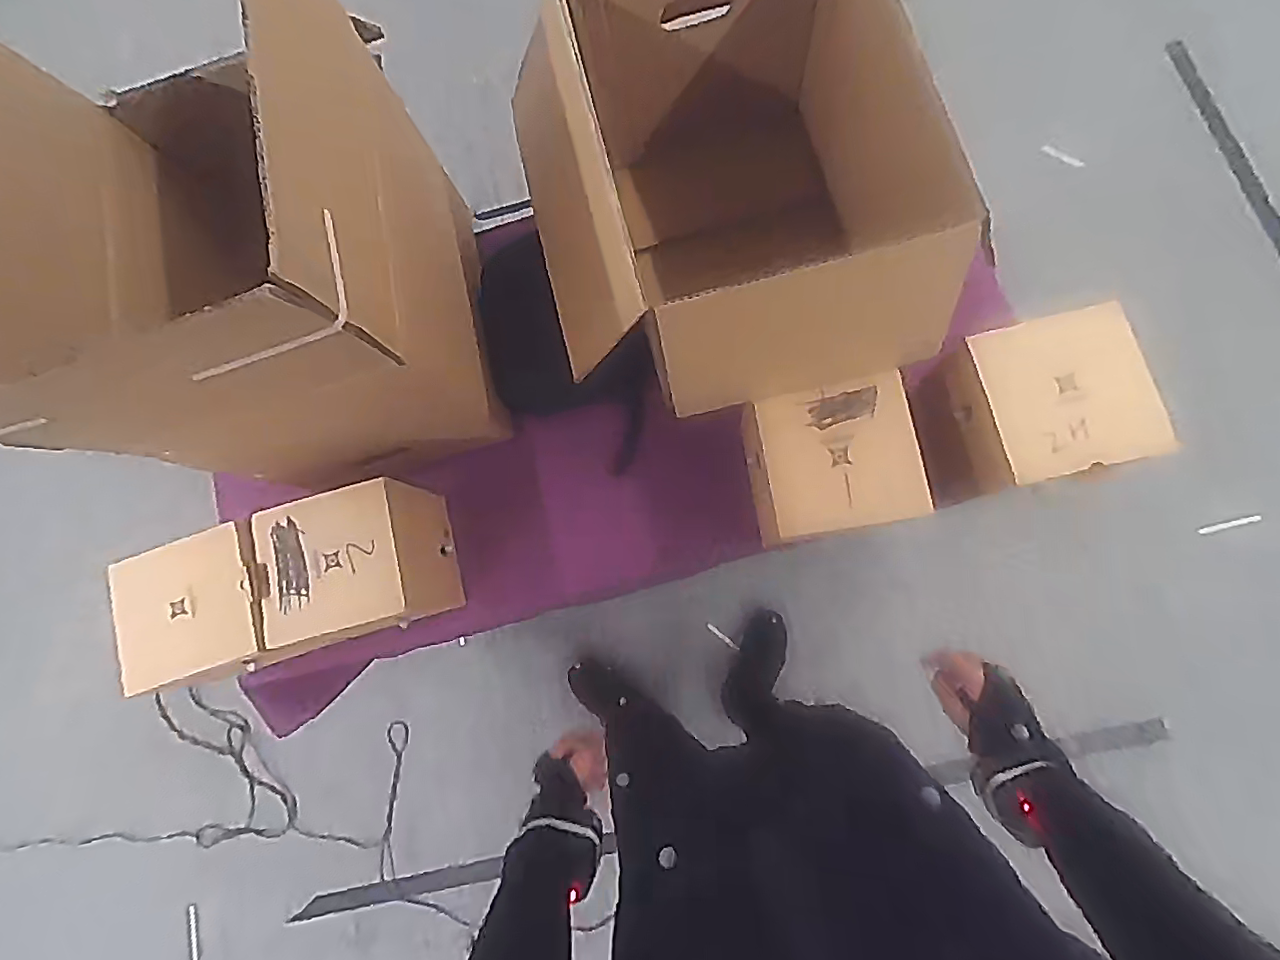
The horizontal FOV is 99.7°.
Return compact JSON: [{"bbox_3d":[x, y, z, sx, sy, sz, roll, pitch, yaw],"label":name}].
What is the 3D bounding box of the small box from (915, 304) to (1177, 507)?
[{"bbox_3d":[0.461,-0.077,0.652,0.168,0.176,0.179,-13,78,6],"label":"small box"}]
